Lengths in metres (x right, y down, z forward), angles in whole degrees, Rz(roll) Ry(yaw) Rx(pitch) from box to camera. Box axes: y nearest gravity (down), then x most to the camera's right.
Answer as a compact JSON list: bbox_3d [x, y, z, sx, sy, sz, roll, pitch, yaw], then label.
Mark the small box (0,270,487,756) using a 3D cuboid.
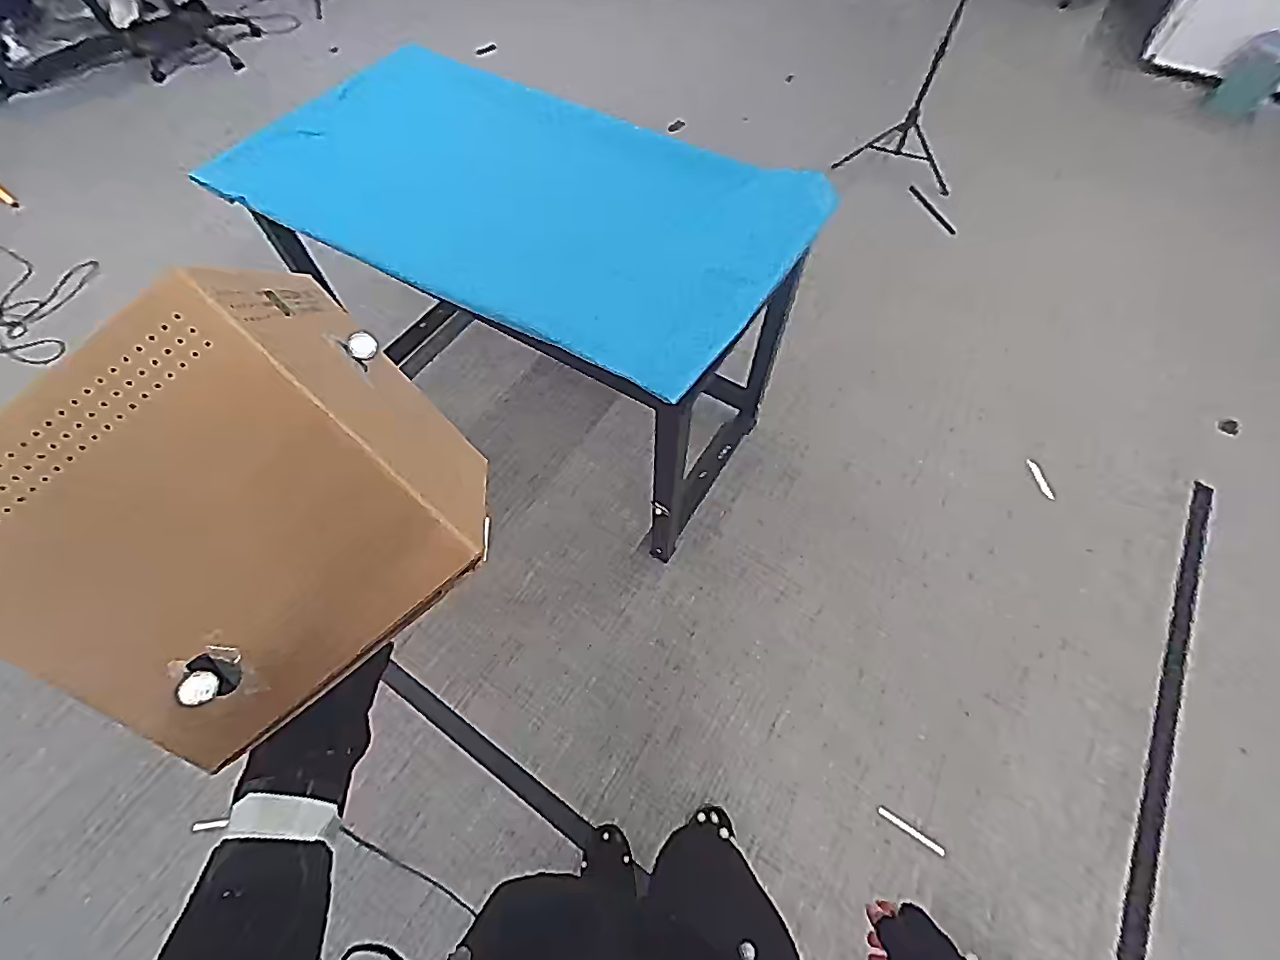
[{"bbox_3d":[-0.213,0.006,0.315,0.179,0.176,0.168,-39,24,0],"label":"small box"}]
